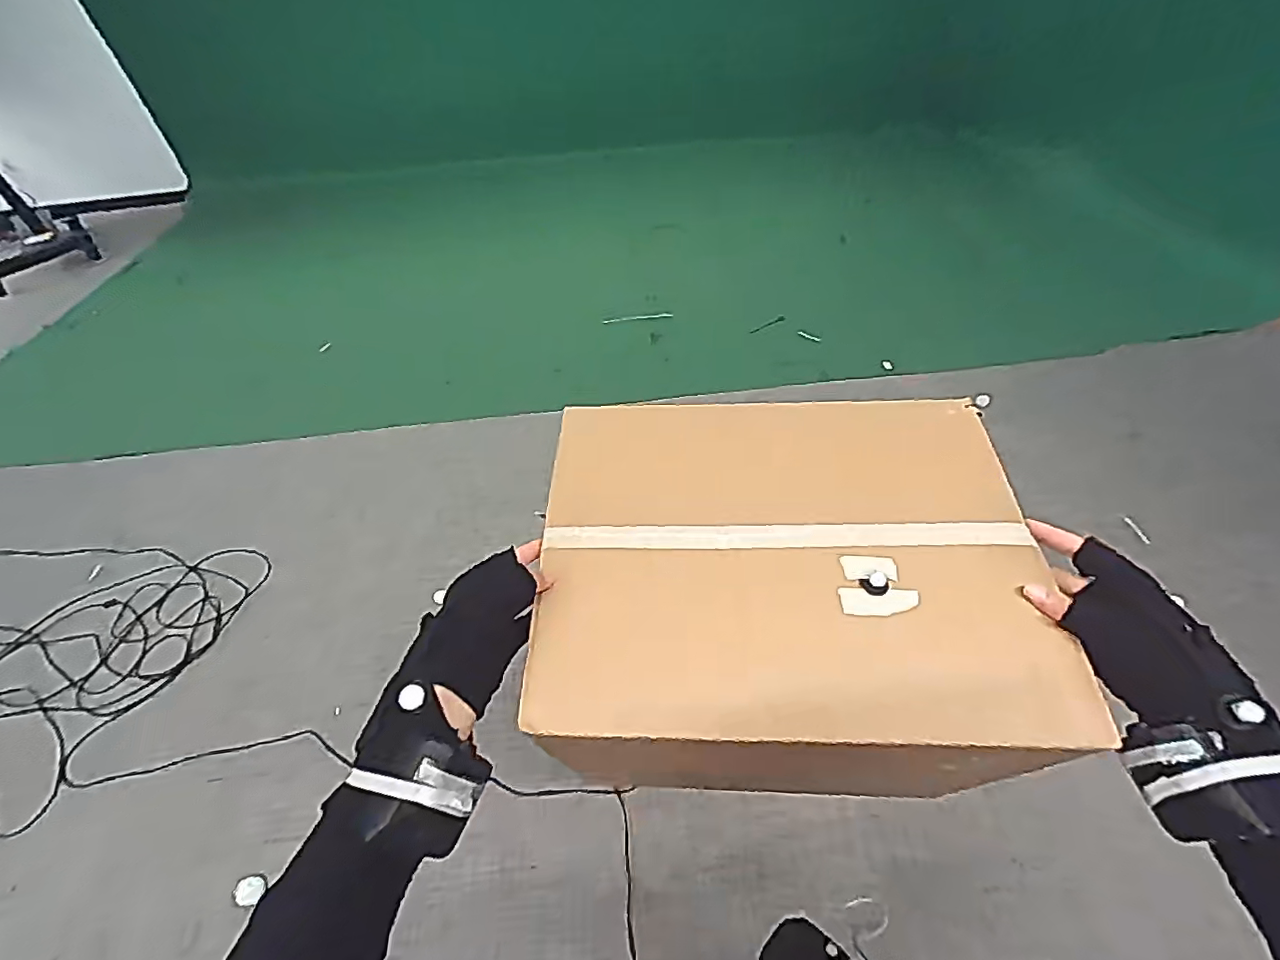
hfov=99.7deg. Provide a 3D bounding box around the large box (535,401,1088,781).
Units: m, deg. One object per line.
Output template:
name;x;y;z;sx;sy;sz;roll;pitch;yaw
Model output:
large box;0.128;0.136;0.594;0.408;0.320;0.320;-1;55;4
